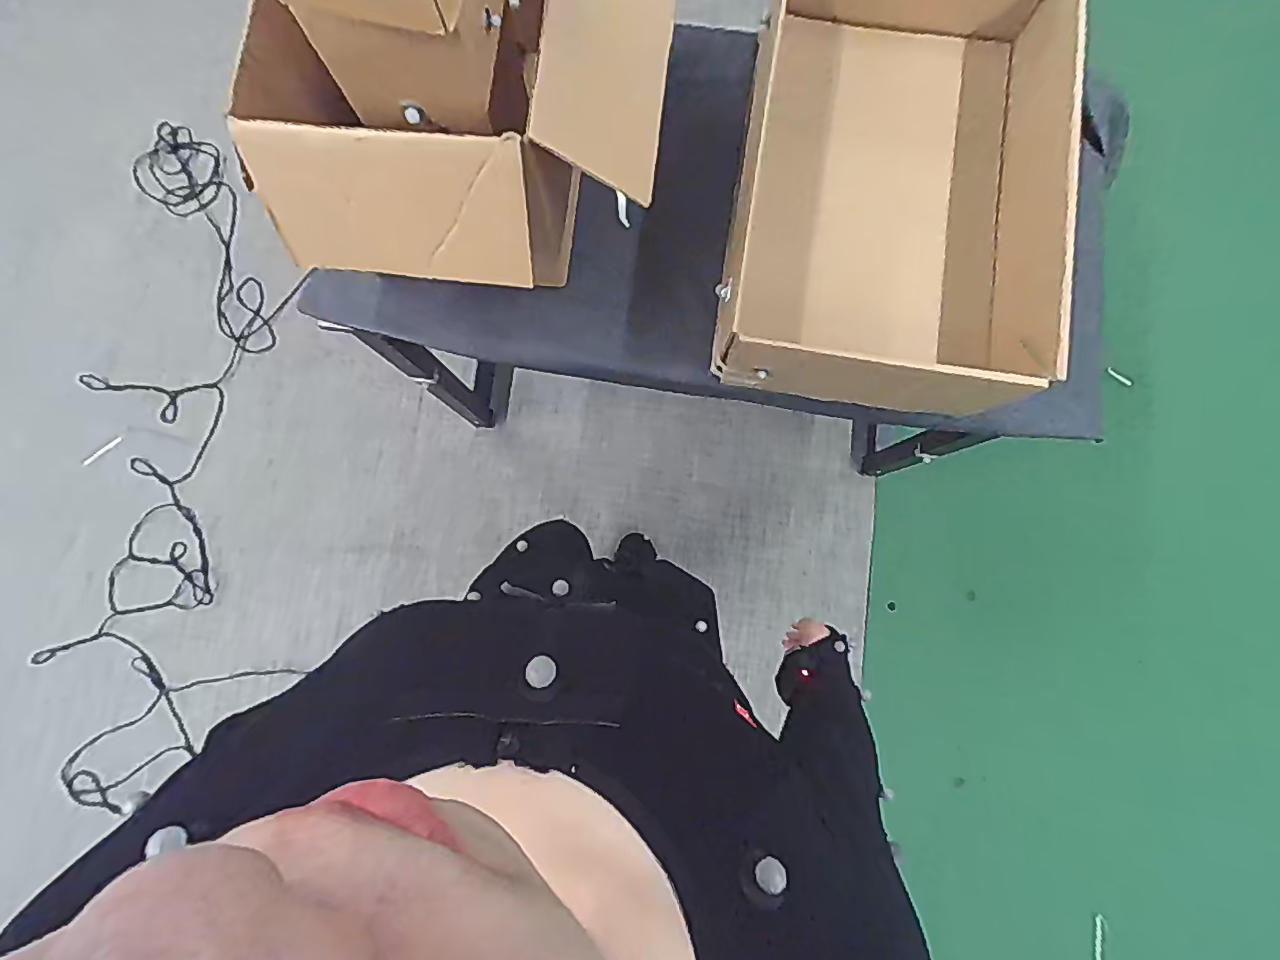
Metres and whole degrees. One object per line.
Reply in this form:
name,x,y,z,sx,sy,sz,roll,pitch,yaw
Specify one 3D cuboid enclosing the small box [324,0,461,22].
small box,-0.243,-0.531,0.443,0.179,0.176,0.168,13,84,1
